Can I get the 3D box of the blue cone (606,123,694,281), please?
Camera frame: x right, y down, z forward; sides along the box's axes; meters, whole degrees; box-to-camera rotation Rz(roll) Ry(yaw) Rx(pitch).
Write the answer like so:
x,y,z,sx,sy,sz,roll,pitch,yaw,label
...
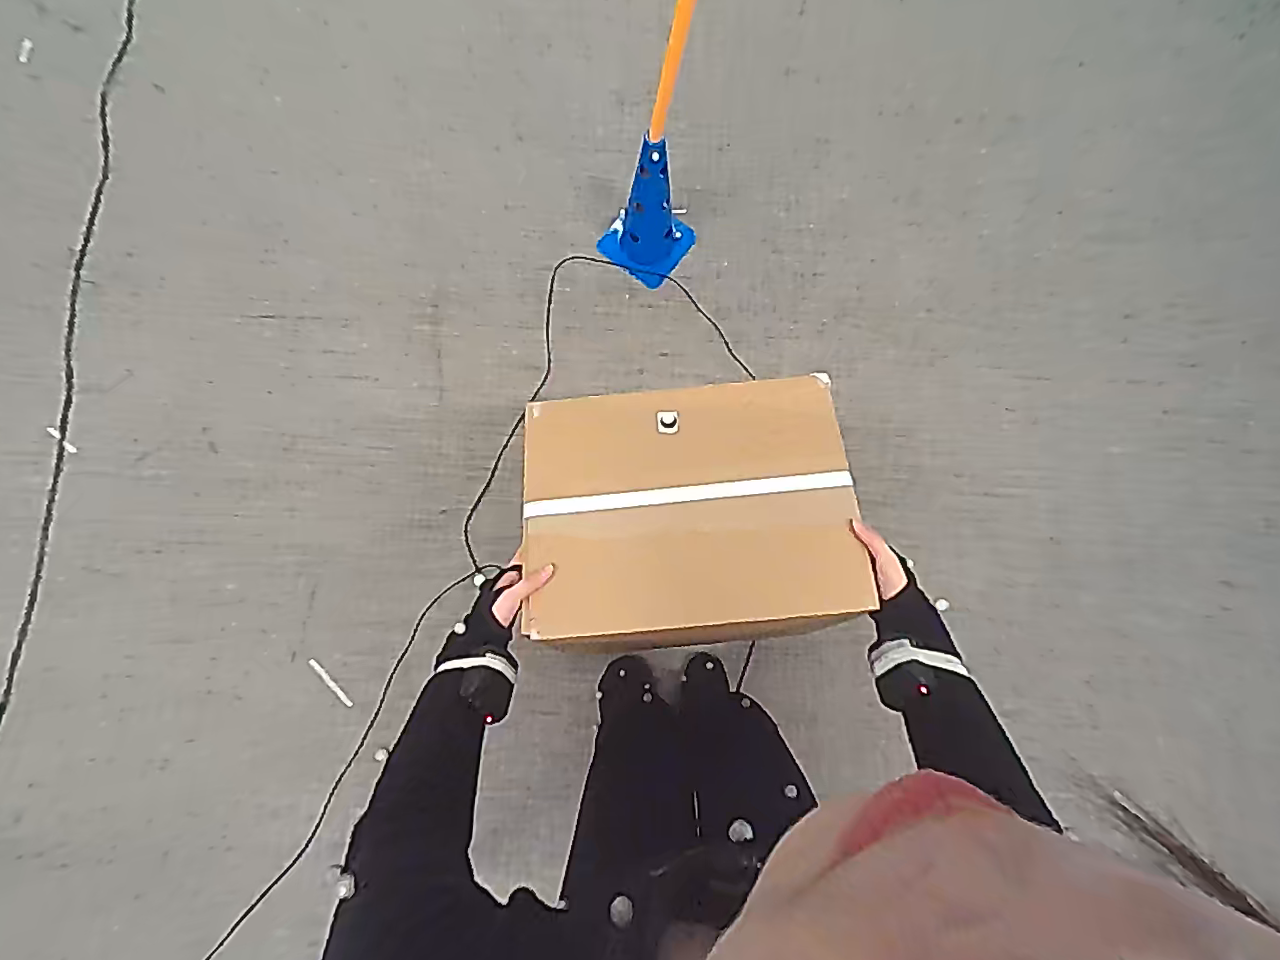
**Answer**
x,y,z,sx,sy,sz,roll,pitch,yaw,label
0.032,-0.649,1.226,0.192,0.380,0.193,35,81,3,blue cone
